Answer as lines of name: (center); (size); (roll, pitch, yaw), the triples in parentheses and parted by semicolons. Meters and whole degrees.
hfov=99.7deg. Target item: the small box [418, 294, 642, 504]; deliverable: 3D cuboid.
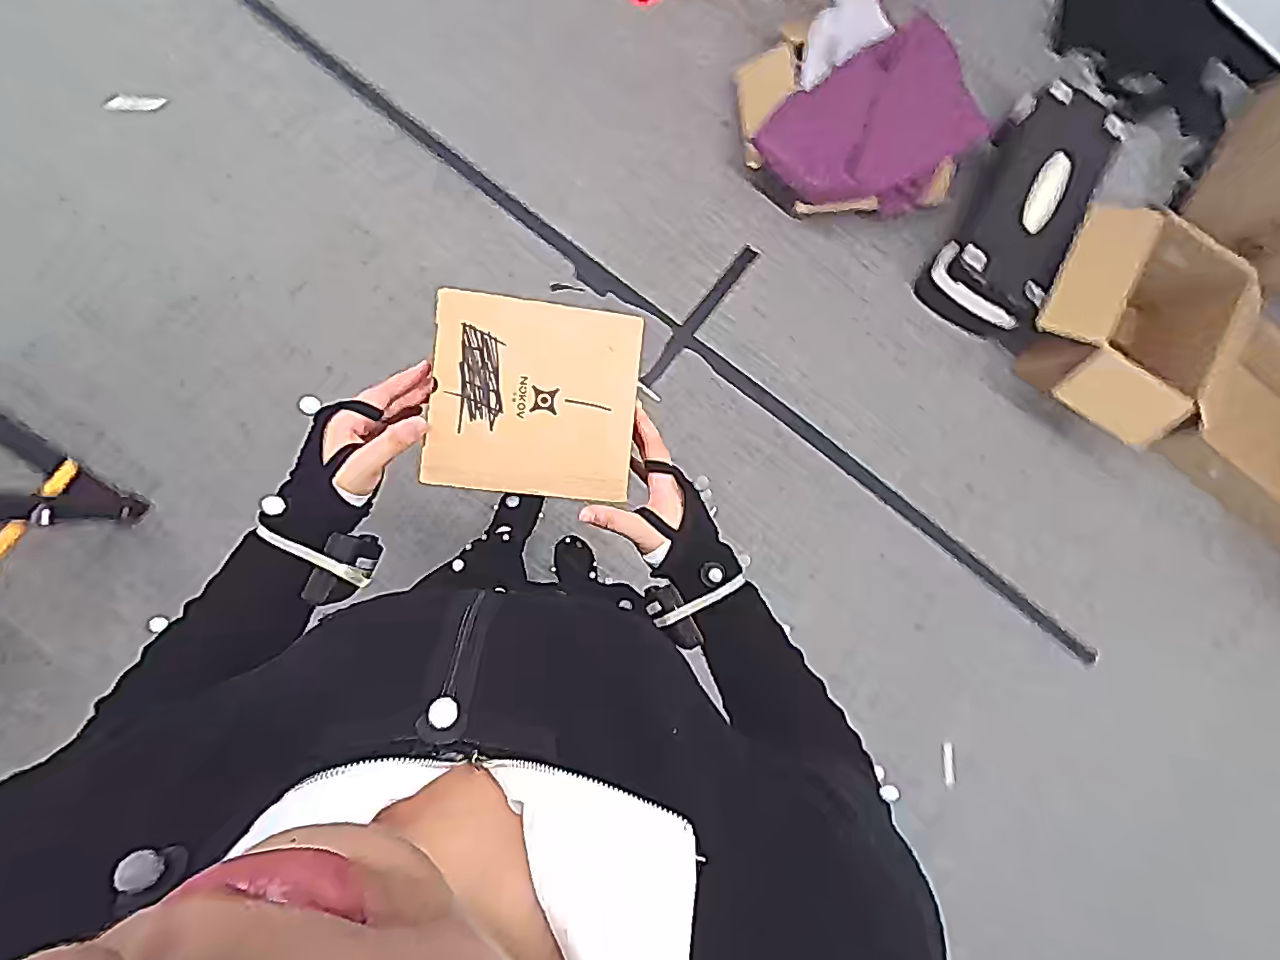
small box: (-0.103, -0.065, 0.538); (0.179, 0.176, 0.168); (5, 88, -9)
